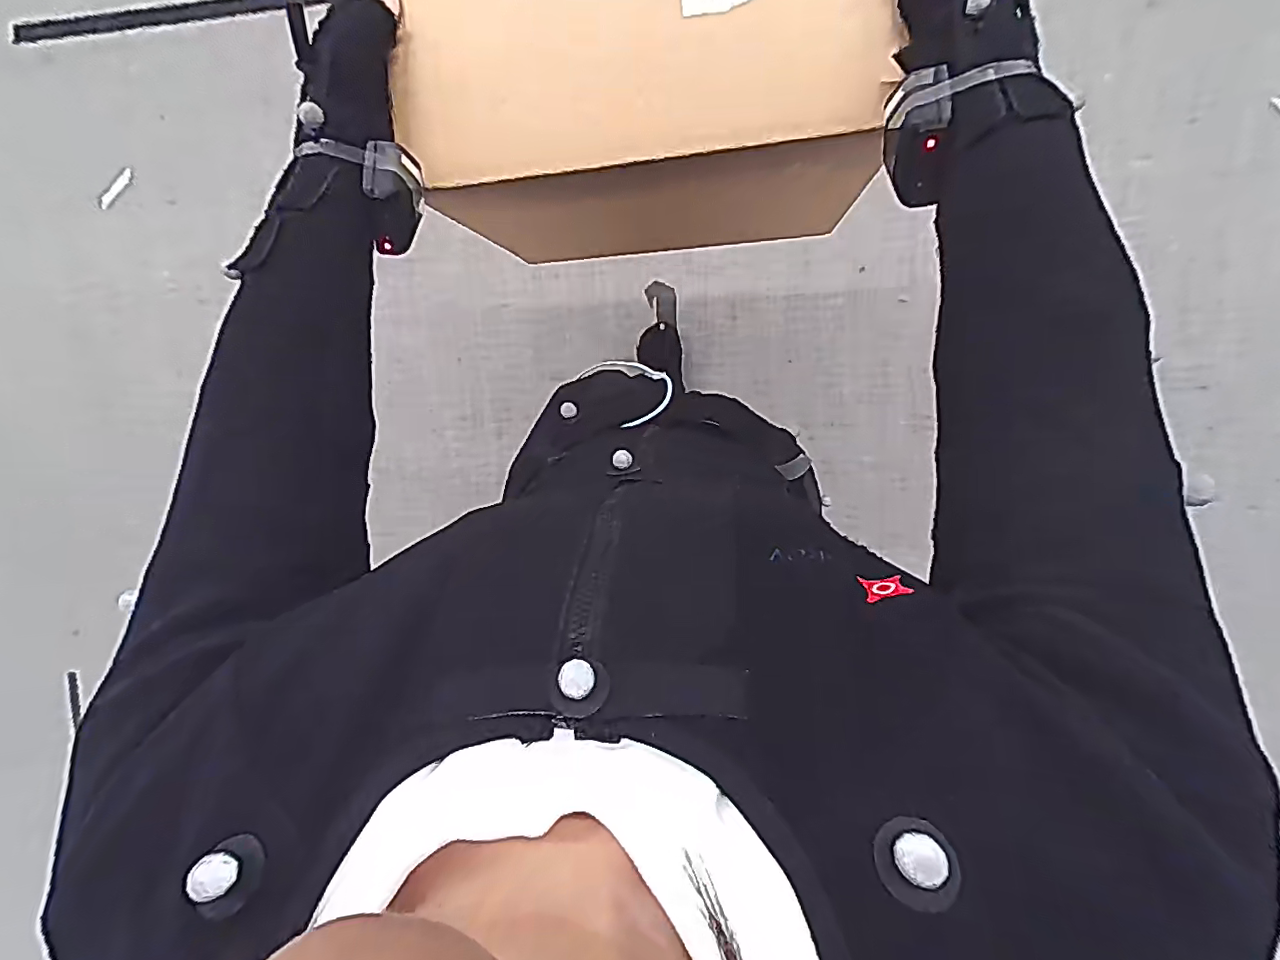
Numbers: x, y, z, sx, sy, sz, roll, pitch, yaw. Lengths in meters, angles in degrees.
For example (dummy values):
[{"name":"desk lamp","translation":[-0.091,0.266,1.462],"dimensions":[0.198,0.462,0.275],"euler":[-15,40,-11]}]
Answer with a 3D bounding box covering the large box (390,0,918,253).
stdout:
[{"name":"large box","translation":[0.013,-0.444,0.543],"dimensions":[0.408,0.320,0.320],"euler":[-3,101,8]}]
